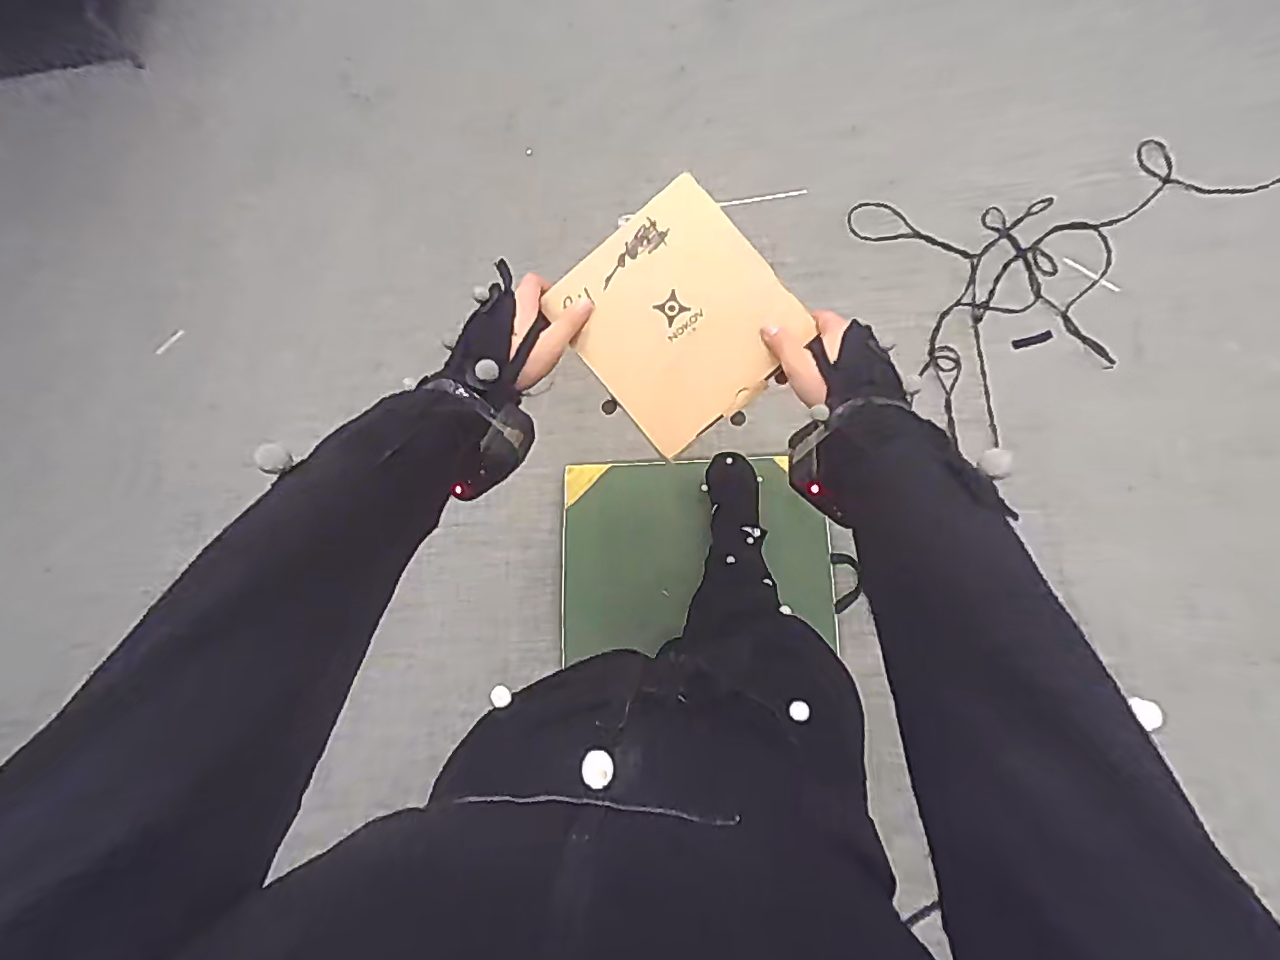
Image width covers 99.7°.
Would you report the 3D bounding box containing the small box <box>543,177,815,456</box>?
[{"bbox_3d":[0.036,-0.141,0.534,0.168,0.176,0.179,-40,90,3],"label":"small box"}]
